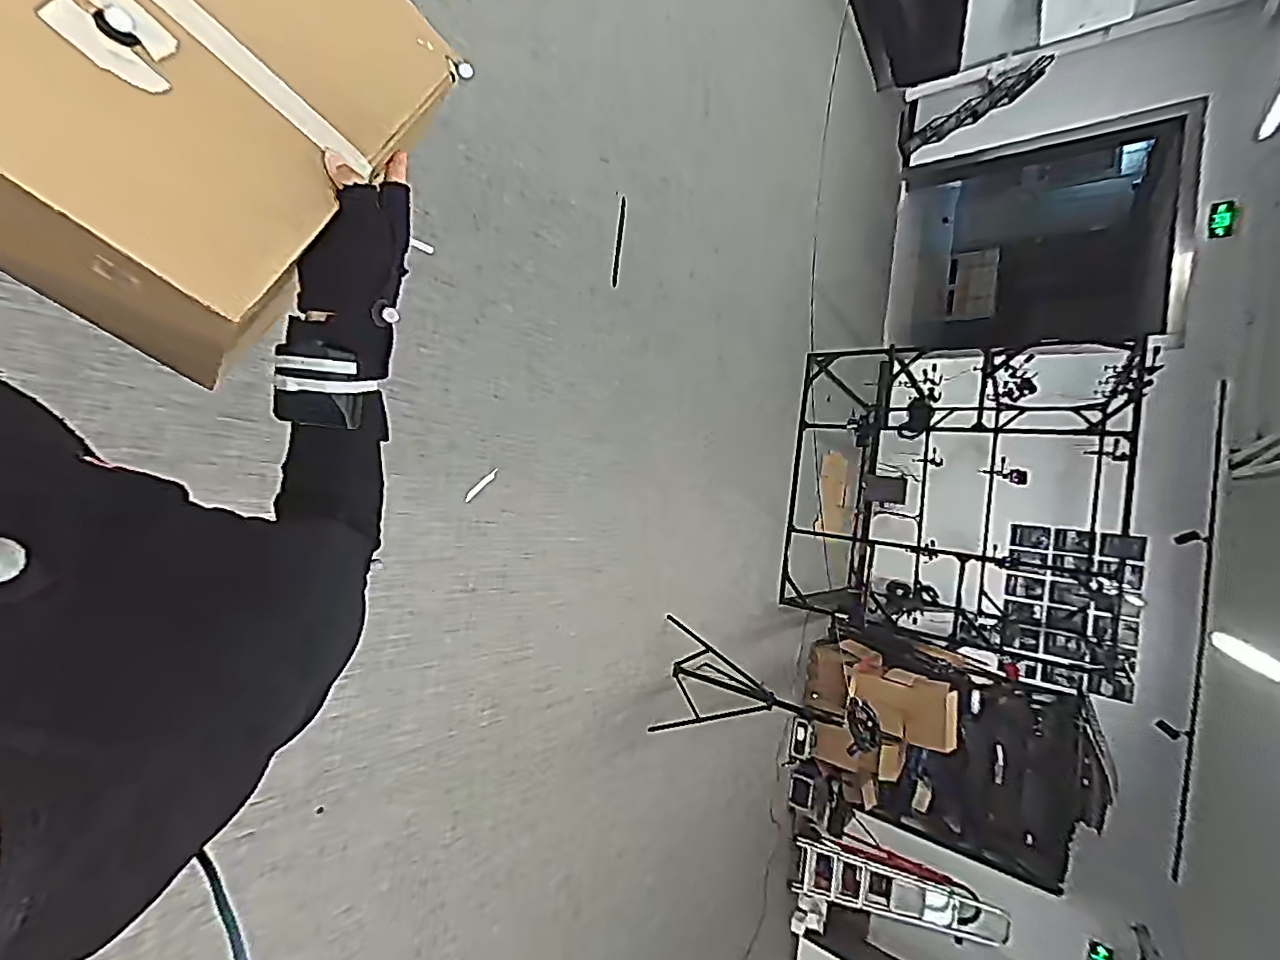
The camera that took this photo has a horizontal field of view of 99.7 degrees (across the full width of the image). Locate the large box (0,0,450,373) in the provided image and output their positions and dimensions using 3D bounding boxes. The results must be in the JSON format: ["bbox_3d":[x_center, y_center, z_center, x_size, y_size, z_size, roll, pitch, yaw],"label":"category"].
[{"bbox_3d":[-0.456,-0.350,0.440,0.408,0.320,0.320,39,65,-34],"label":"large box"}]
